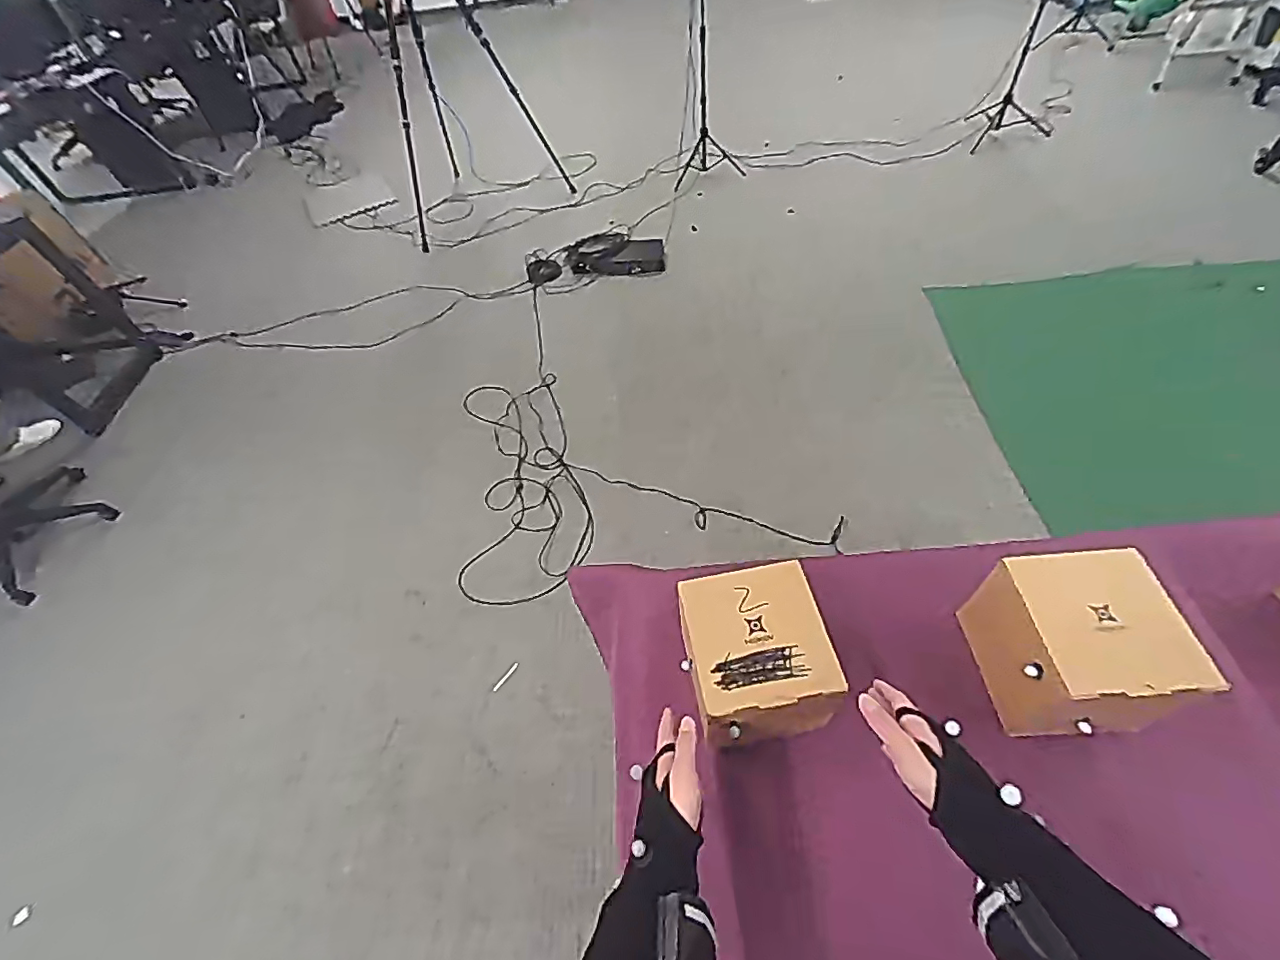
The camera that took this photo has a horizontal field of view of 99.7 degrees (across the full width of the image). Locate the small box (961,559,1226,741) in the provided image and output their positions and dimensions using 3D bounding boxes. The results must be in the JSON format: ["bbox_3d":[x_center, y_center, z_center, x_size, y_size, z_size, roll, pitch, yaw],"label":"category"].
[{"bbox_3d":[0.551,0.220,0.695,0.168,0.176,0.179,-4,53,3],"label":"small box"}]
